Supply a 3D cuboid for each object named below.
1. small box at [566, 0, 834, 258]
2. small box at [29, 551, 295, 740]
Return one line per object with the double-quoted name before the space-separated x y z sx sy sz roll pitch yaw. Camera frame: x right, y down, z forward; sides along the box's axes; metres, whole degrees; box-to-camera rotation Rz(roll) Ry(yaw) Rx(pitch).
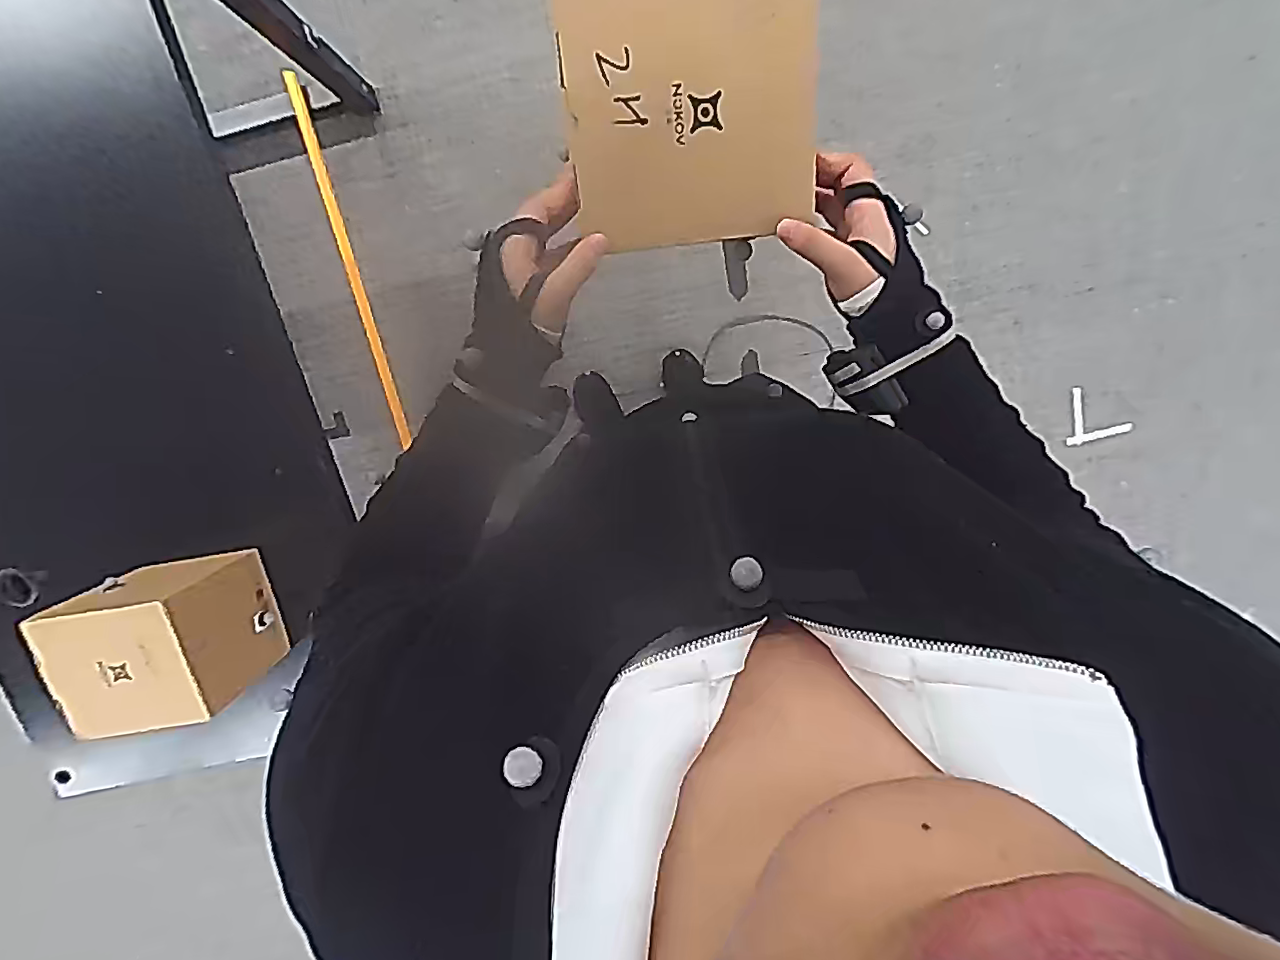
"small box" 0.039 -0.281 0.445 0.179 0.176 0.168 -6 113 -1
"small box" -0.614 0.210 0.722 0.179 0.176 0.168 -10 105 2
